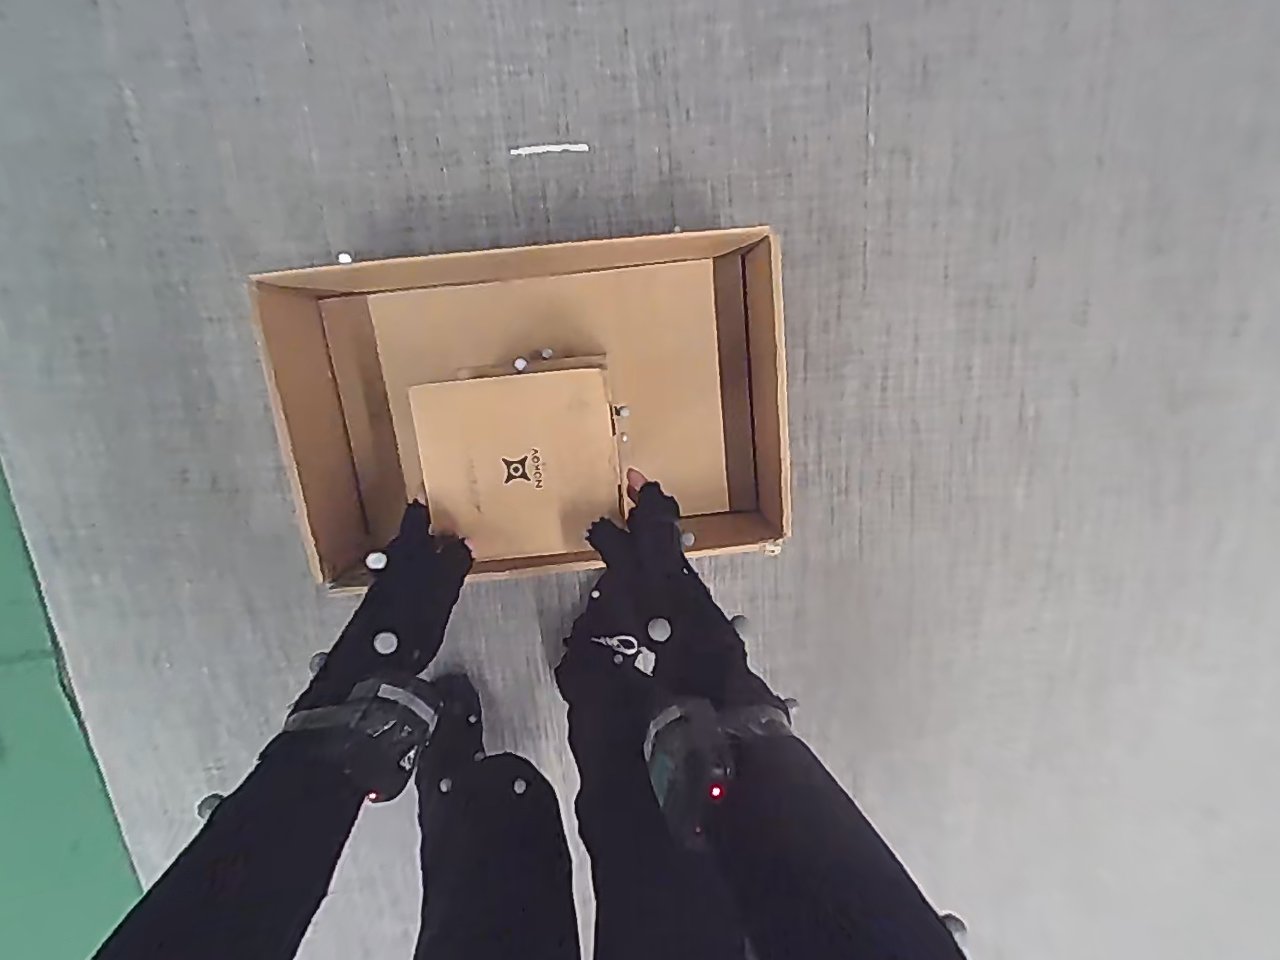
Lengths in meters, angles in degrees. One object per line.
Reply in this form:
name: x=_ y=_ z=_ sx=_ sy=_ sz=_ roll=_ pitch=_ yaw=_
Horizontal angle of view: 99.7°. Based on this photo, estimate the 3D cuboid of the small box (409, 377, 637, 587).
small box: x=-0.103 y=-0.011 z=0.553 sx=0.179 sy=0.176 sz=0.168 roll=-9 pitch=102 yaw=0

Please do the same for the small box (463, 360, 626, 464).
small box: x=-0.115 y=-0.065 z=0.726 sx=0.179 sy=0.176 sz=0.168 roll=-8 pitch=101 yaw=0
